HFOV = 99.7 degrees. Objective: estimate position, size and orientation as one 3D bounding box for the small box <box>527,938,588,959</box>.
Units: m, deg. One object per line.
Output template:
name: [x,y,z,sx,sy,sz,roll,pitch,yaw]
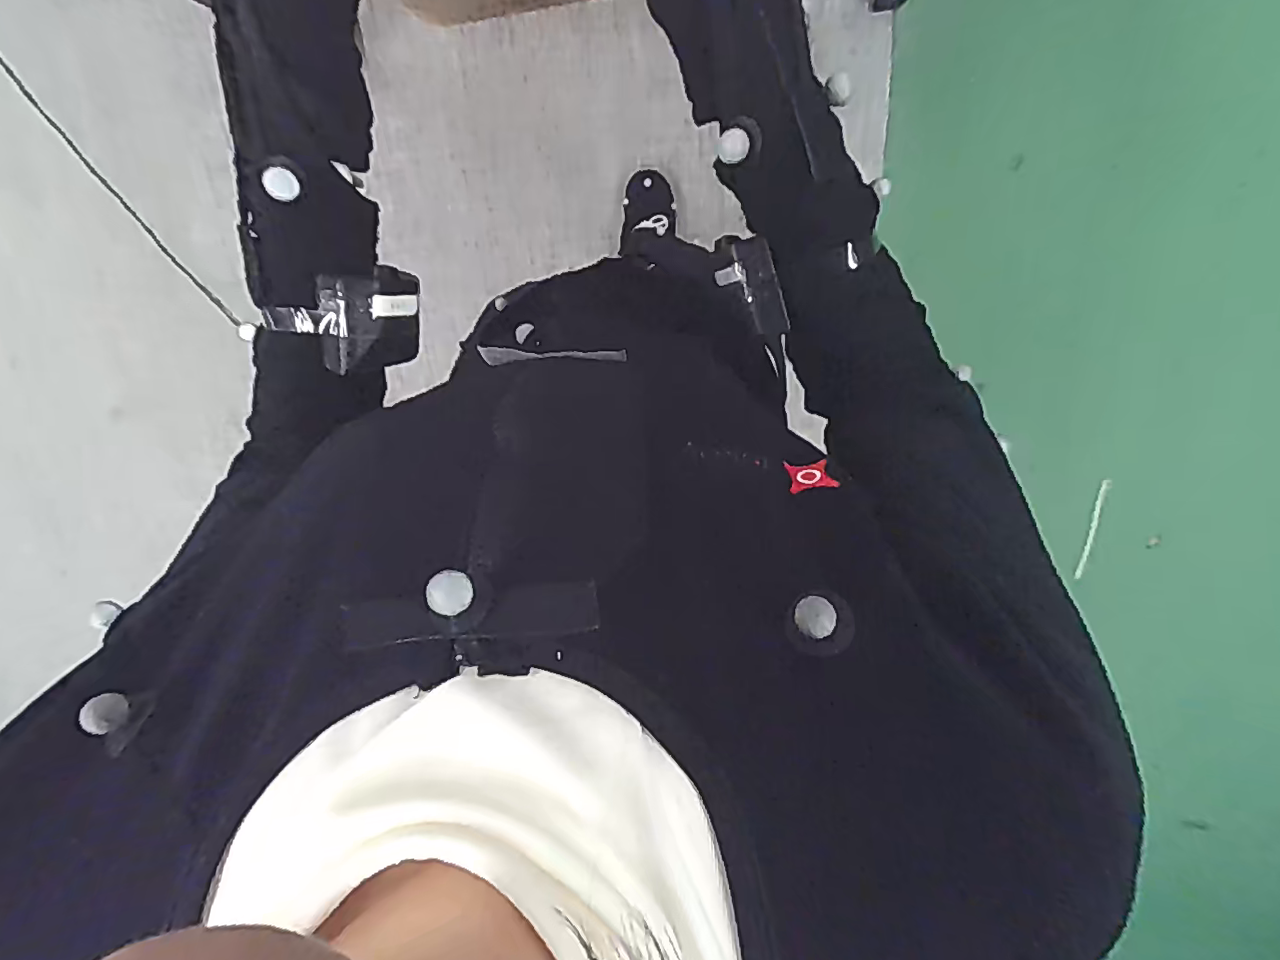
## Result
small box: [-0.240,1.480,1.573,0.168,0.176,0.179,-8,113,4]
